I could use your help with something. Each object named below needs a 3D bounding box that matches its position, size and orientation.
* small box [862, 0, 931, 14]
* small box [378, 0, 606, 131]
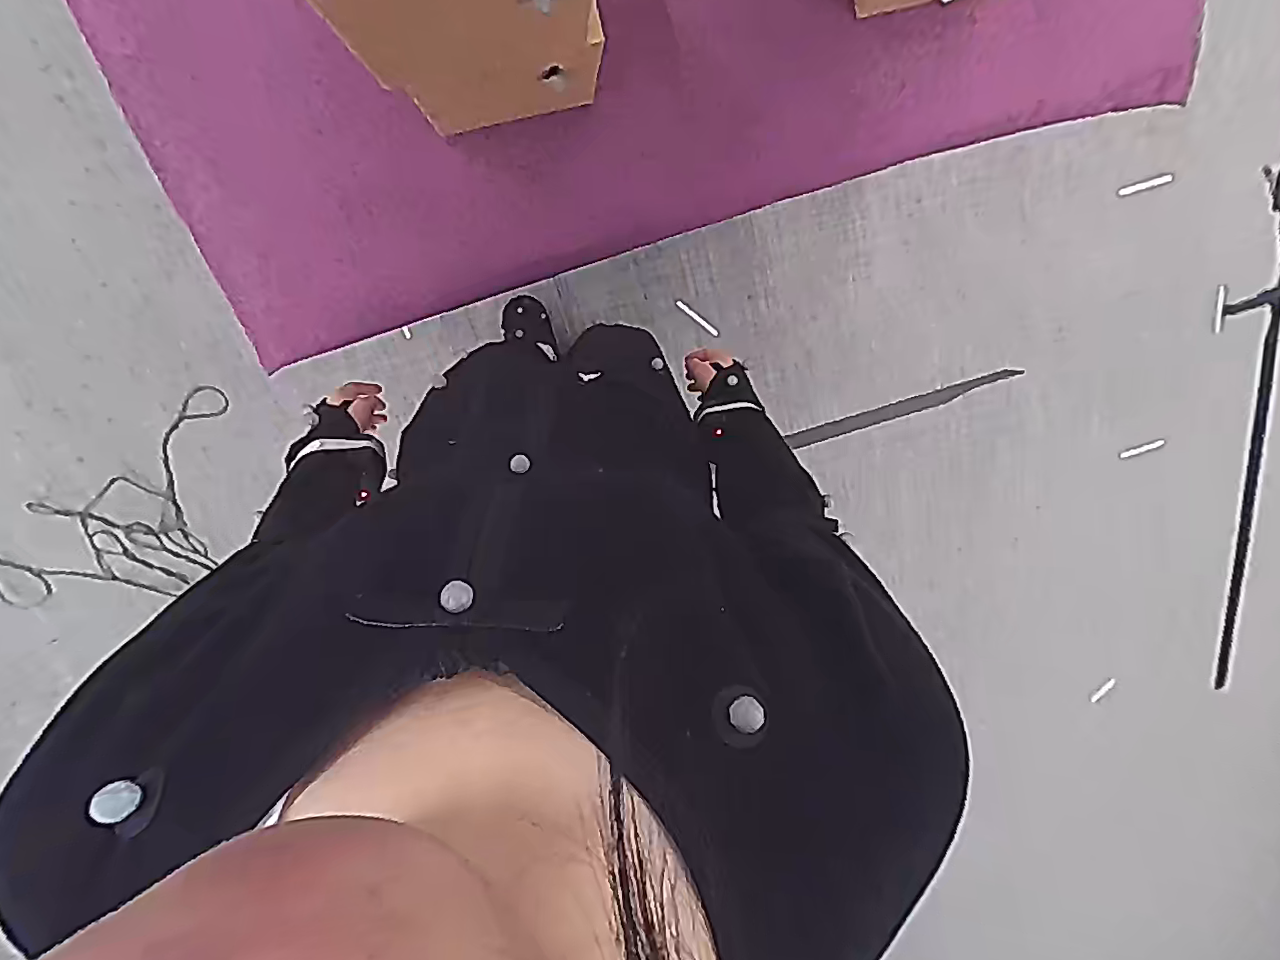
[{"bbox_3d":[0.314,-0.596,0.509,0.168,0.176,0.179,-15,112,-2],"label":"small box"},{"bbox_3d":[-0.140,-0.448,0.496,0.179,0.176,0.168,-15,111,-3],"label":"small box"}]
